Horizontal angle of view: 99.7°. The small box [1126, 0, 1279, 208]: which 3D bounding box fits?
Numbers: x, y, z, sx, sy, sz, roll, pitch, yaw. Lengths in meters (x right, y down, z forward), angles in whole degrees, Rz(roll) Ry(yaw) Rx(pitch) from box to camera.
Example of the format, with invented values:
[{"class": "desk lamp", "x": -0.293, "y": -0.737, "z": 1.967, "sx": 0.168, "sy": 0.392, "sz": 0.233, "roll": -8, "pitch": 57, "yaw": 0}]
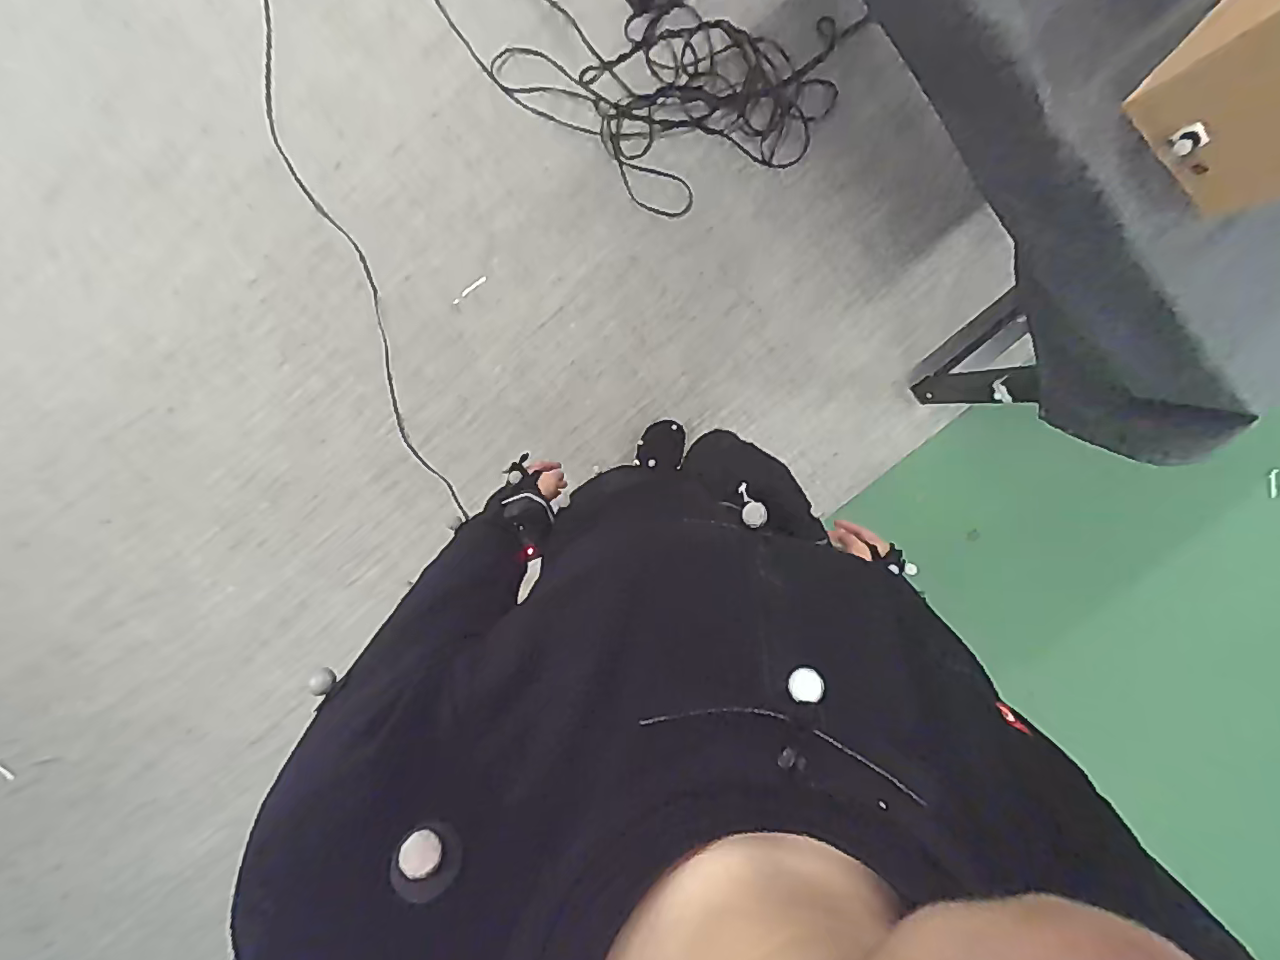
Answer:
[{"class": "small box", "x": 0.632, "y": -0.402, "z": 0.505, "sx": 0.168, "sy": 0.176, "sz": 0.179, "roll": 42, "pitch": 95, "yaw": -6}]
